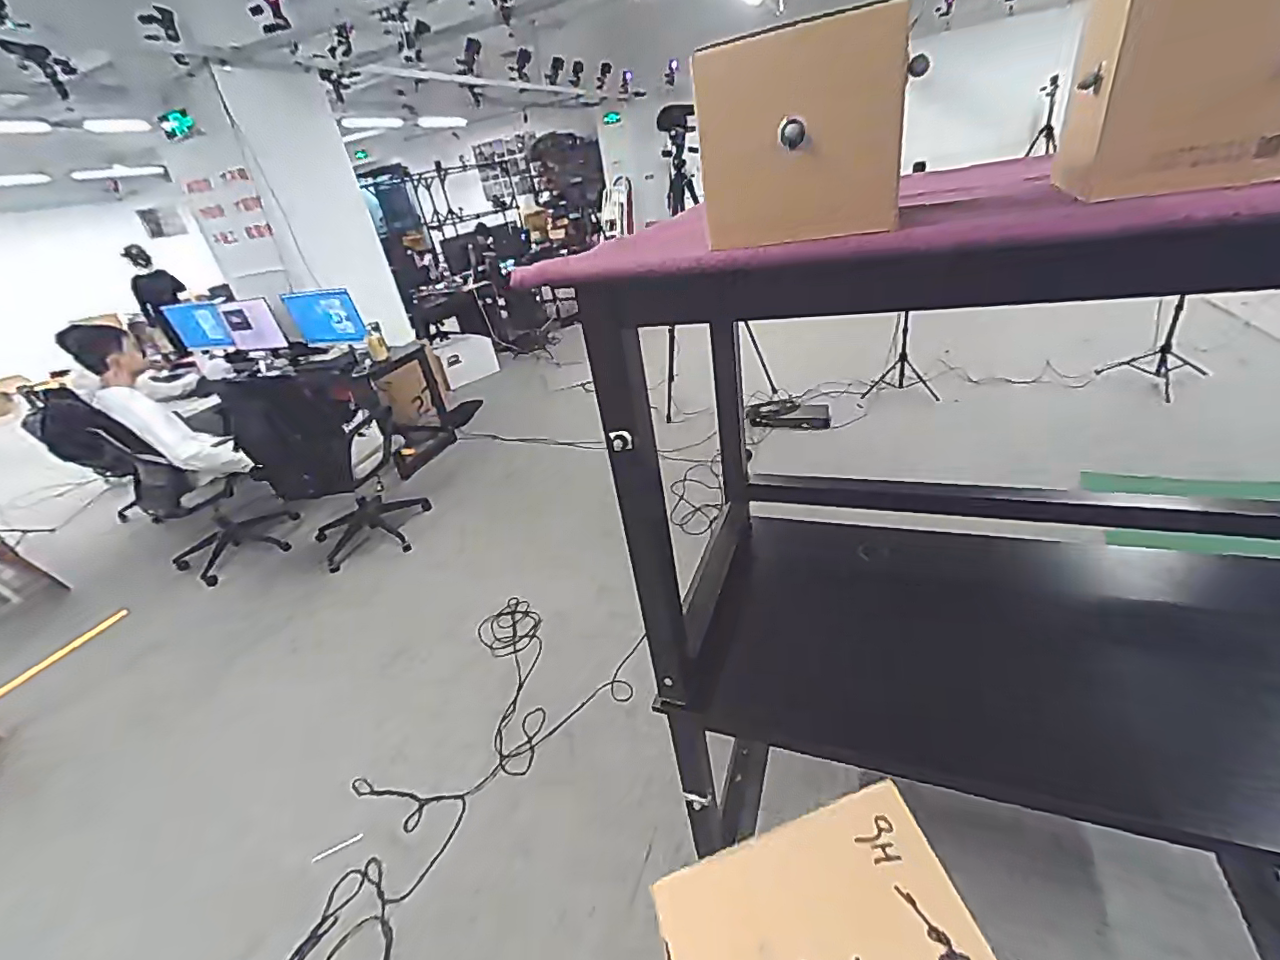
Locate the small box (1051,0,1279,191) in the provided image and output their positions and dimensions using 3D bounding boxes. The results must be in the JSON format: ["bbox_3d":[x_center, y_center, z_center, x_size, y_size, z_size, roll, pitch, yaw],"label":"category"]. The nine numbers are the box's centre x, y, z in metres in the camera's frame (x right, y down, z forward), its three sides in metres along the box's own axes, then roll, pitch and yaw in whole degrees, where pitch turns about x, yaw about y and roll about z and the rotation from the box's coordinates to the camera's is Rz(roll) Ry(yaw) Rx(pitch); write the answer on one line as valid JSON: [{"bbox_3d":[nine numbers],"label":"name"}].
[{"bbox_3d":[0.465,-0.342,0.440,0.168,0.176,0.179,5,32,24],"label":"small box"}]
